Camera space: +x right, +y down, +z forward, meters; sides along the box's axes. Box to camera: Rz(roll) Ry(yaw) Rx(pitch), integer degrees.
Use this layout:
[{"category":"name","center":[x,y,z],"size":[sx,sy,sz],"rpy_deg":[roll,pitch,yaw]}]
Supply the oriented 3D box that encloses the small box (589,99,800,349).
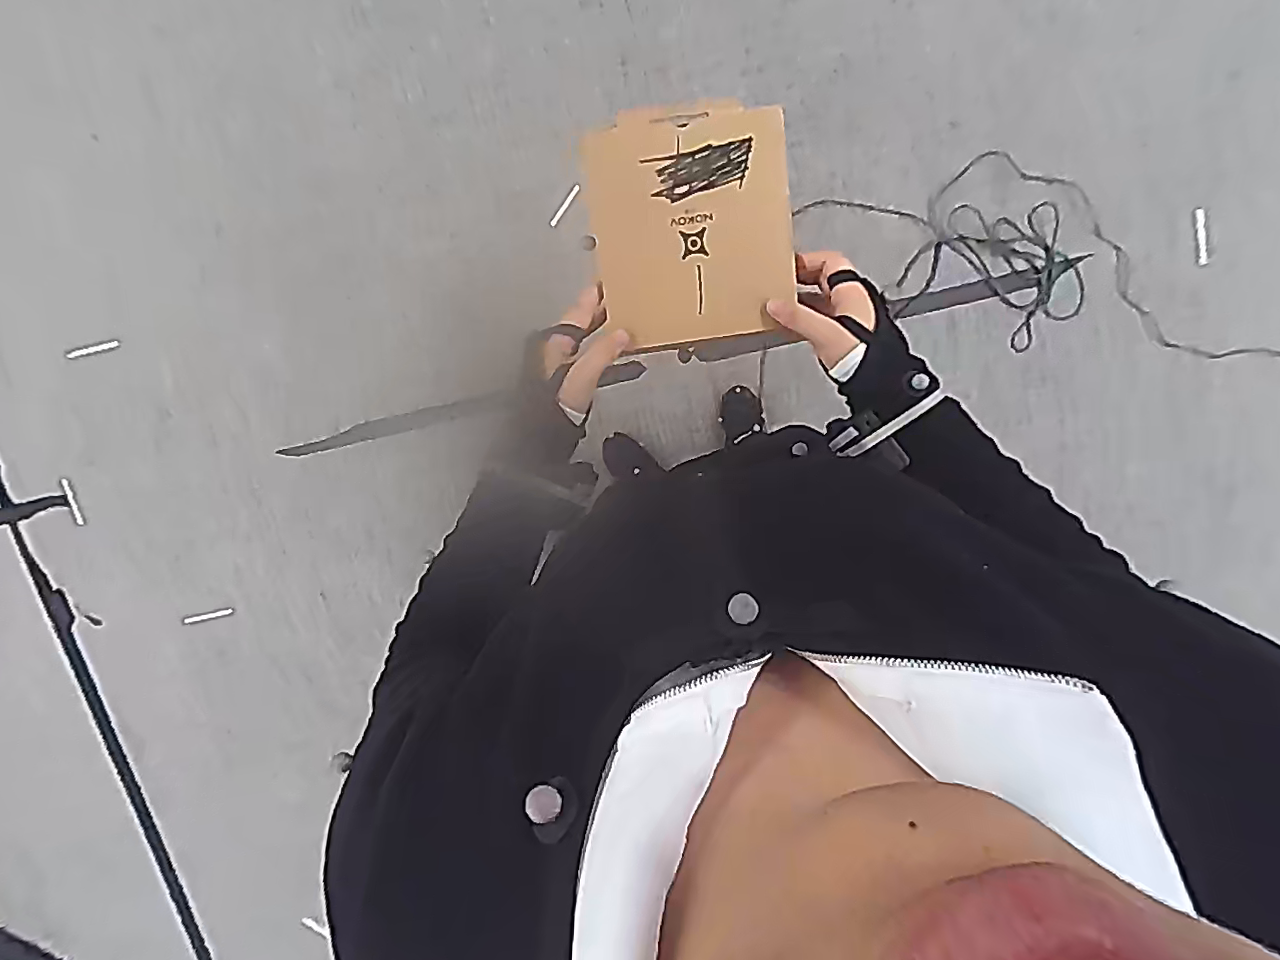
[{"category":"small box","center":[0.044,-0.230,0.531],"size":[0.168,0.176,0.179],"rpy_deg":[-8,102,-1]}]
